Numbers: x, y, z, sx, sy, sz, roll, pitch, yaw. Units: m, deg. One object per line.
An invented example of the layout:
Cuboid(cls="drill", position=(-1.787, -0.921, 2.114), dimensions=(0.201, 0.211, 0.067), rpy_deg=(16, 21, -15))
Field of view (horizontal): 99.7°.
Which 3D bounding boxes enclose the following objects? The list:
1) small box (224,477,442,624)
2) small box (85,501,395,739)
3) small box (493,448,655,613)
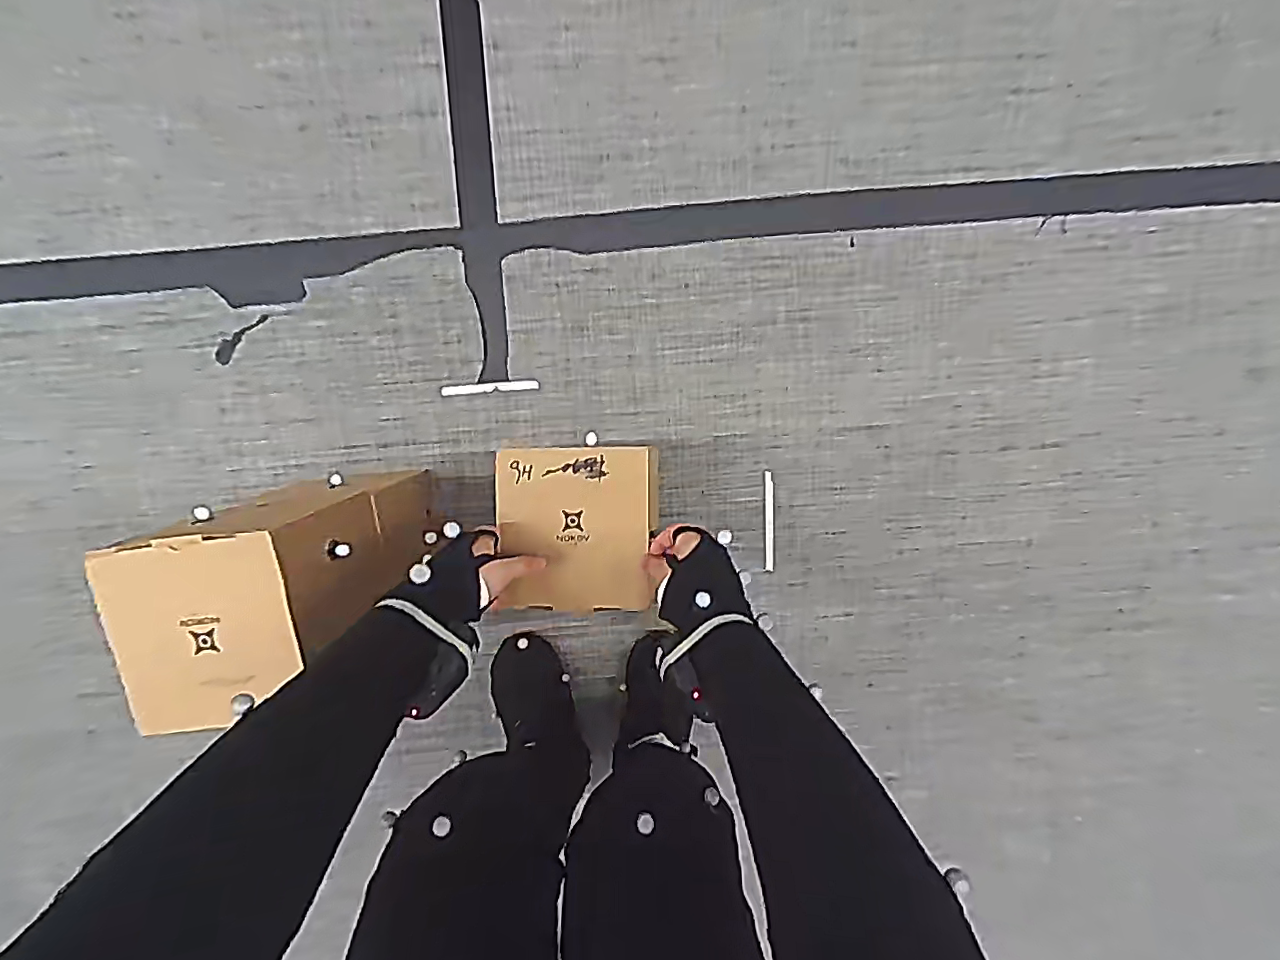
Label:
Cuboid(cls="small box", position=(-0.384, 0.094, 0.708), dimensions=(0.179, 0.176, 0.168), rpy_deg=(-6, 100, -1))
Cuboid(cls="small box", position=(-0.378, 0.125, 0.549), dimensions=(0.168, 0.176, 0.179), rpy_deg=(-8, 101, 2))
Cuboid(cls="small box", position=(-0.069, 0.050, 0.661), dimensions=(0.168, 0.176, 0.179), rpy_deg=(0, 93, 6))
